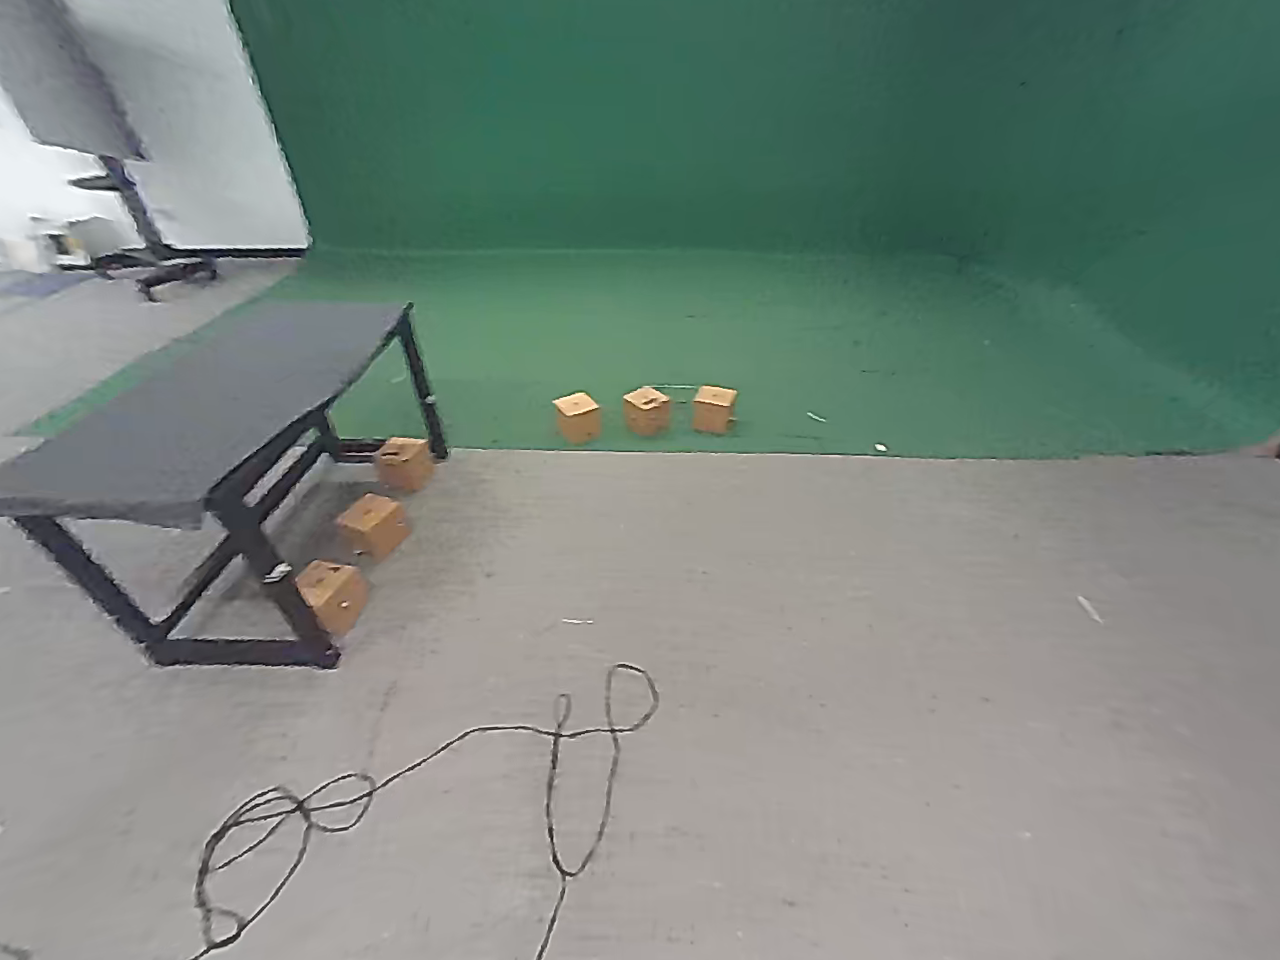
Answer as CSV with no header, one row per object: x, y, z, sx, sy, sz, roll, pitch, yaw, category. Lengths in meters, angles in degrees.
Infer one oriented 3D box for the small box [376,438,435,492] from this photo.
-1.036,-0.066,2.407,0.168,0.176,0.179,5,38,6,small box

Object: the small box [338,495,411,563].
-1.015,0.188,2.090,0.168,0.176,0.179,14,42,18,small box

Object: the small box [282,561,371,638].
-1.043,0.404,1.820,0.168,0.176,0.179,9,40,11,small box

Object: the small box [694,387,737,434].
0.380,-0.350,2.745,0.179,0.176,0.168,14,41,17,small box

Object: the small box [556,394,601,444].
-0.307,-0.305,2.702,0.168,0.176,0.179,-22,44,-25,small box
